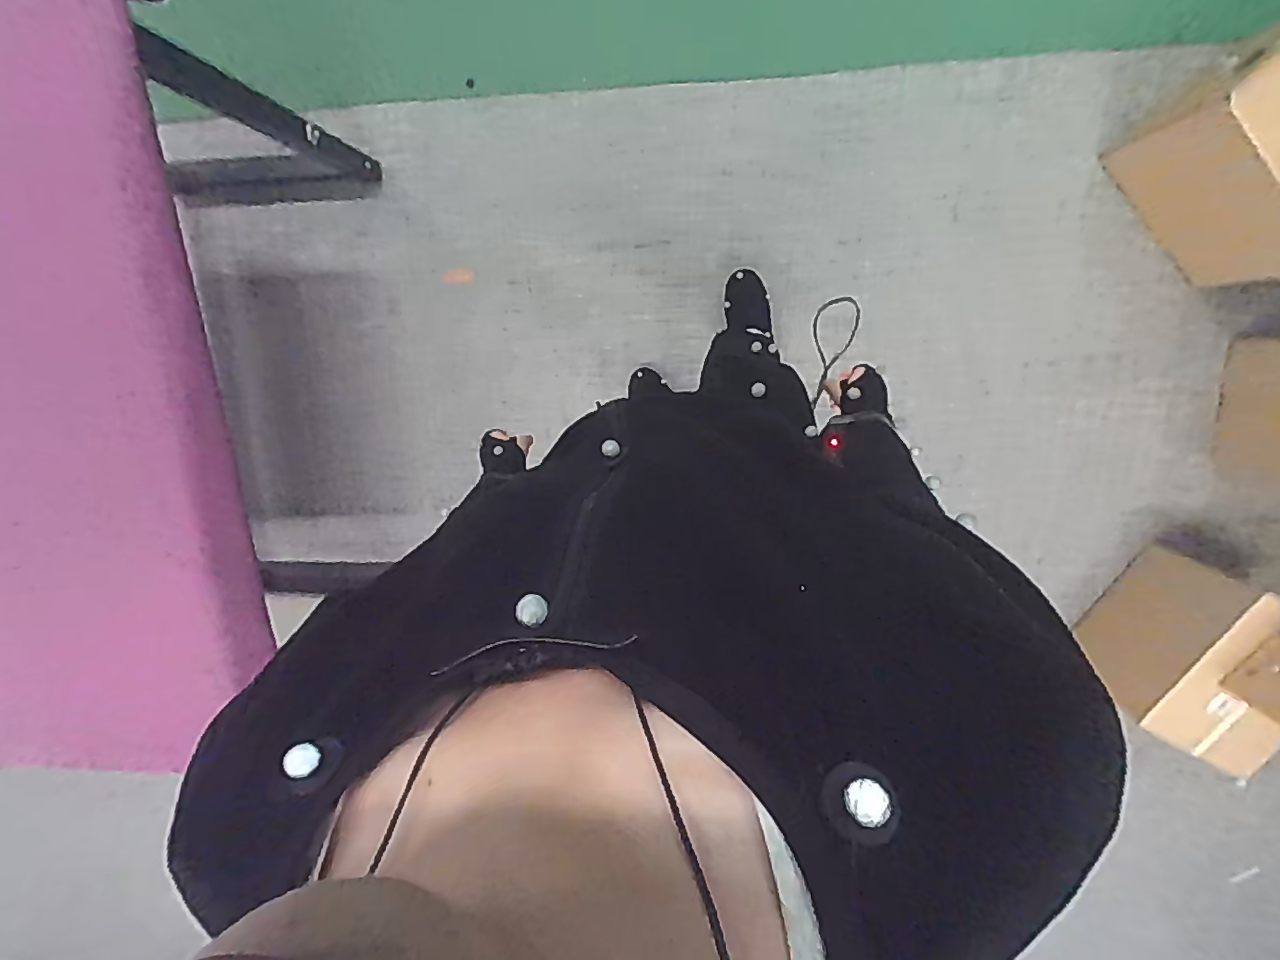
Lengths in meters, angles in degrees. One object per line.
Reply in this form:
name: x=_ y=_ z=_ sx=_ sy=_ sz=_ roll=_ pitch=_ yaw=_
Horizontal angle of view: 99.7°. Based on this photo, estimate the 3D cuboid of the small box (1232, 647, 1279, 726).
small box: x=1.426 y=0.474 z=1.119 sx=0.179 sy=0.176 sz=0.168 roll=32 pitch=105 yaw=-5
